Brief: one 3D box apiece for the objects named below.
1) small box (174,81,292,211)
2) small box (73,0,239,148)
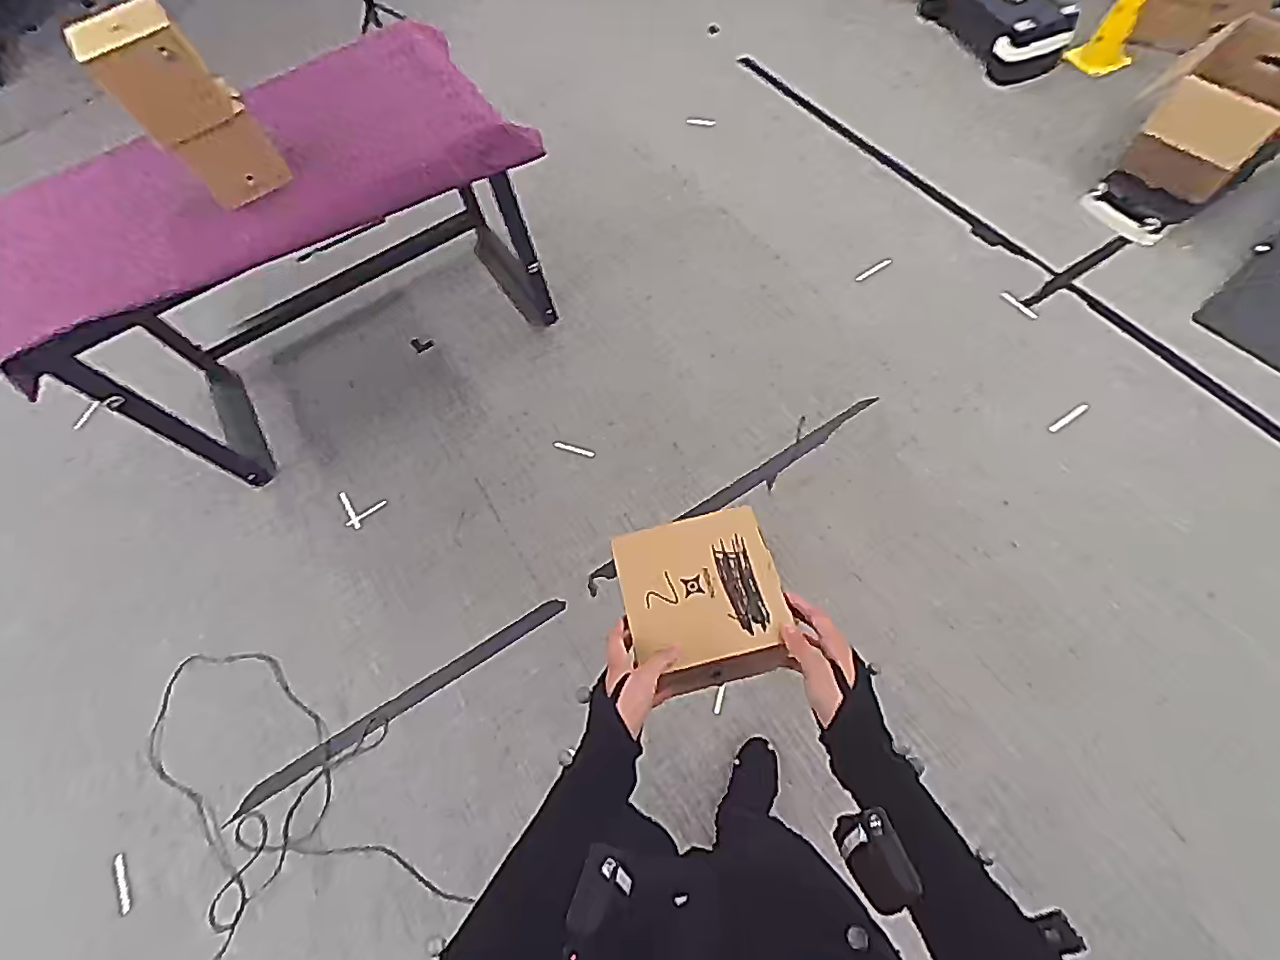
[{"bbox_3d":[-0.948,-0.770,1.254,0.179,0.176,0.168,-35,66,-10],"label":"small box"},{"bbox_3d":[-0.974,-0.820,1.099,0.179,0.176,0.168,-35,66,-10],"label":"small box"}]
